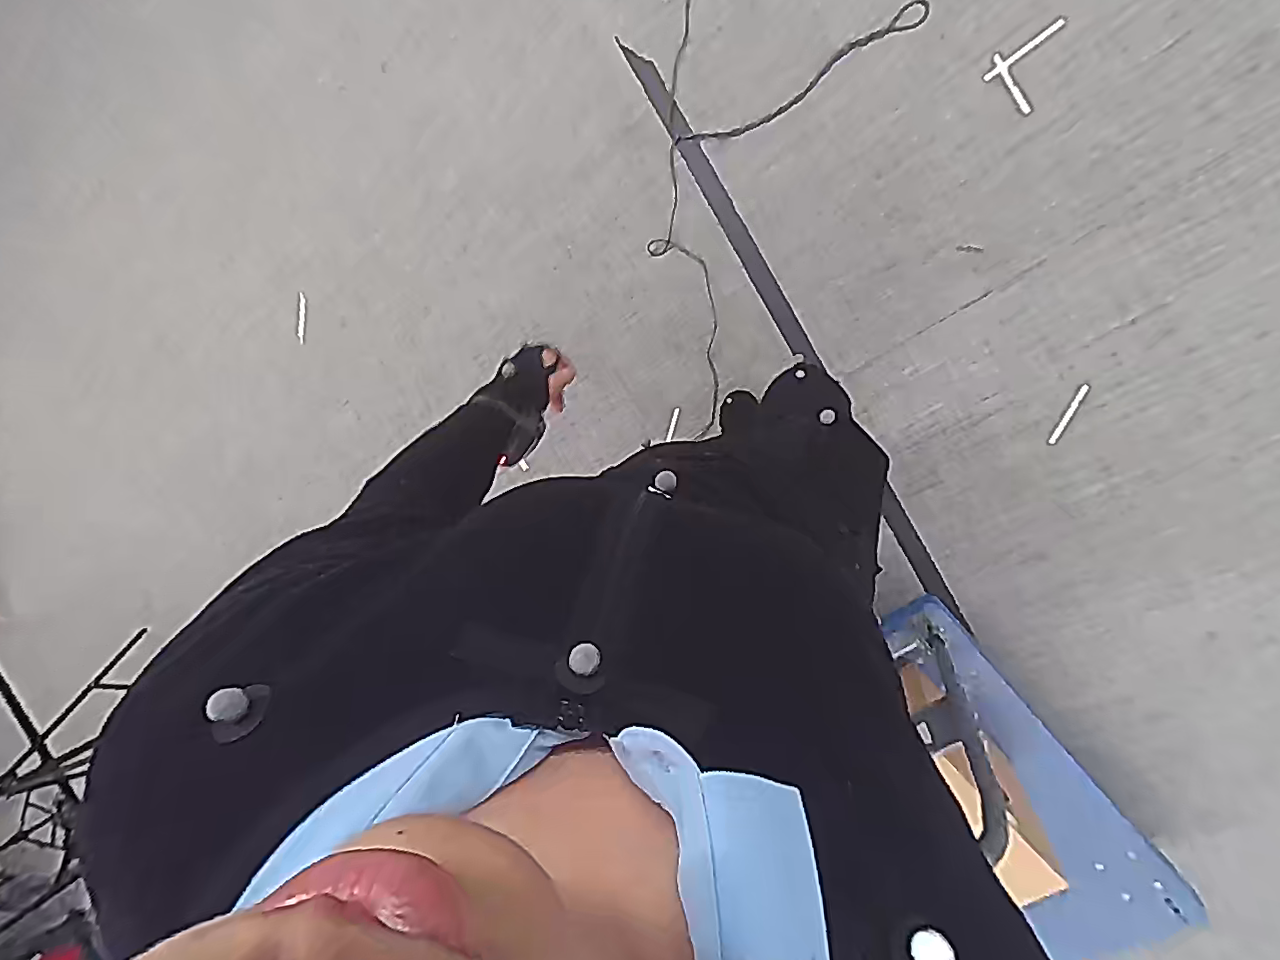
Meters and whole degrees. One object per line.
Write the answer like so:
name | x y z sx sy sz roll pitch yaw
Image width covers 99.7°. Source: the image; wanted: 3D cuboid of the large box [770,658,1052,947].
large box | 0.544 0.672 1.166 0.320 0.320 0.408 46 112 6
